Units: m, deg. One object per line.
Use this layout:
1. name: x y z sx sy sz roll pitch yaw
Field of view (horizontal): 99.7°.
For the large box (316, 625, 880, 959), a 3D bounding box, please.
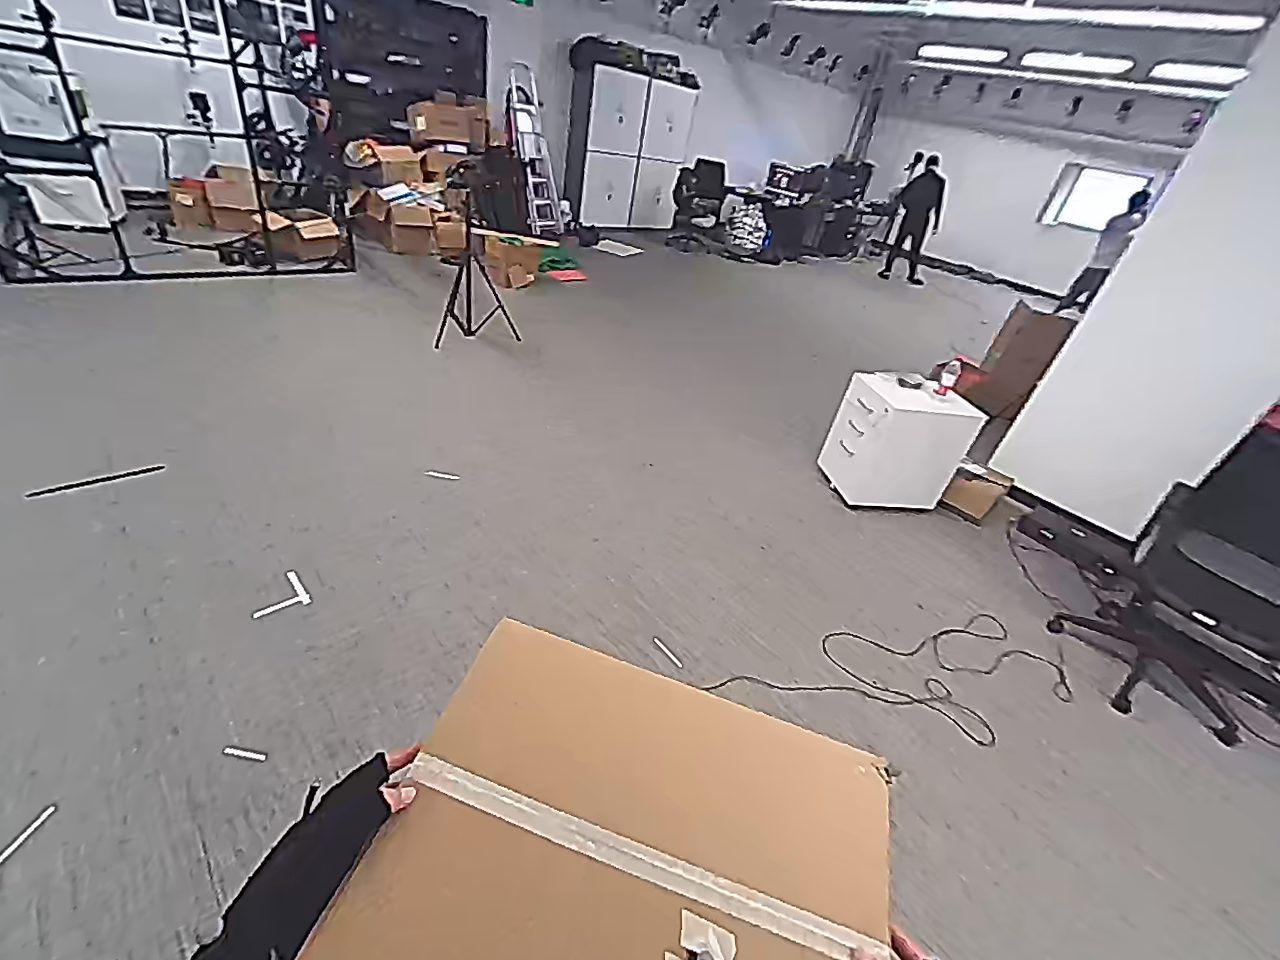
1. large box: -0.021 0.414 0.551 0.408 0.320 0.320 18 45 8
